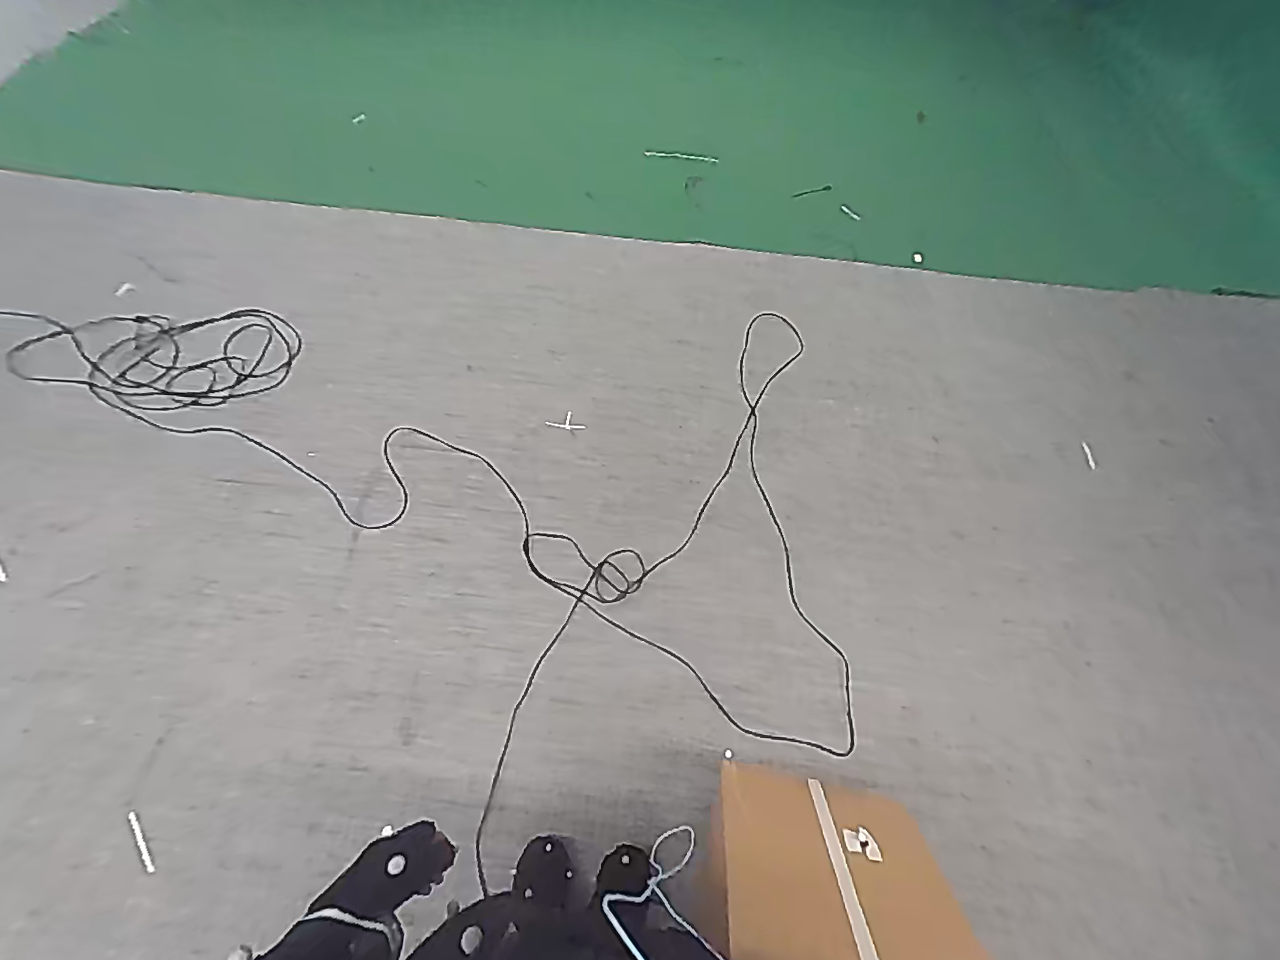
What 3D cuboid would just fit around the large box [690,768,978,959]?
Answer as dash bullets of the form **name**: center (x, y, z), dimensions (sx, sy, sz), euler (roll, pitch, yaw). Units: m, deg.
- **large box**: center (0.243, 0.695, 0.751), dimensions (0.320, 0.408, 0.320), euler (12, 96, 6)
